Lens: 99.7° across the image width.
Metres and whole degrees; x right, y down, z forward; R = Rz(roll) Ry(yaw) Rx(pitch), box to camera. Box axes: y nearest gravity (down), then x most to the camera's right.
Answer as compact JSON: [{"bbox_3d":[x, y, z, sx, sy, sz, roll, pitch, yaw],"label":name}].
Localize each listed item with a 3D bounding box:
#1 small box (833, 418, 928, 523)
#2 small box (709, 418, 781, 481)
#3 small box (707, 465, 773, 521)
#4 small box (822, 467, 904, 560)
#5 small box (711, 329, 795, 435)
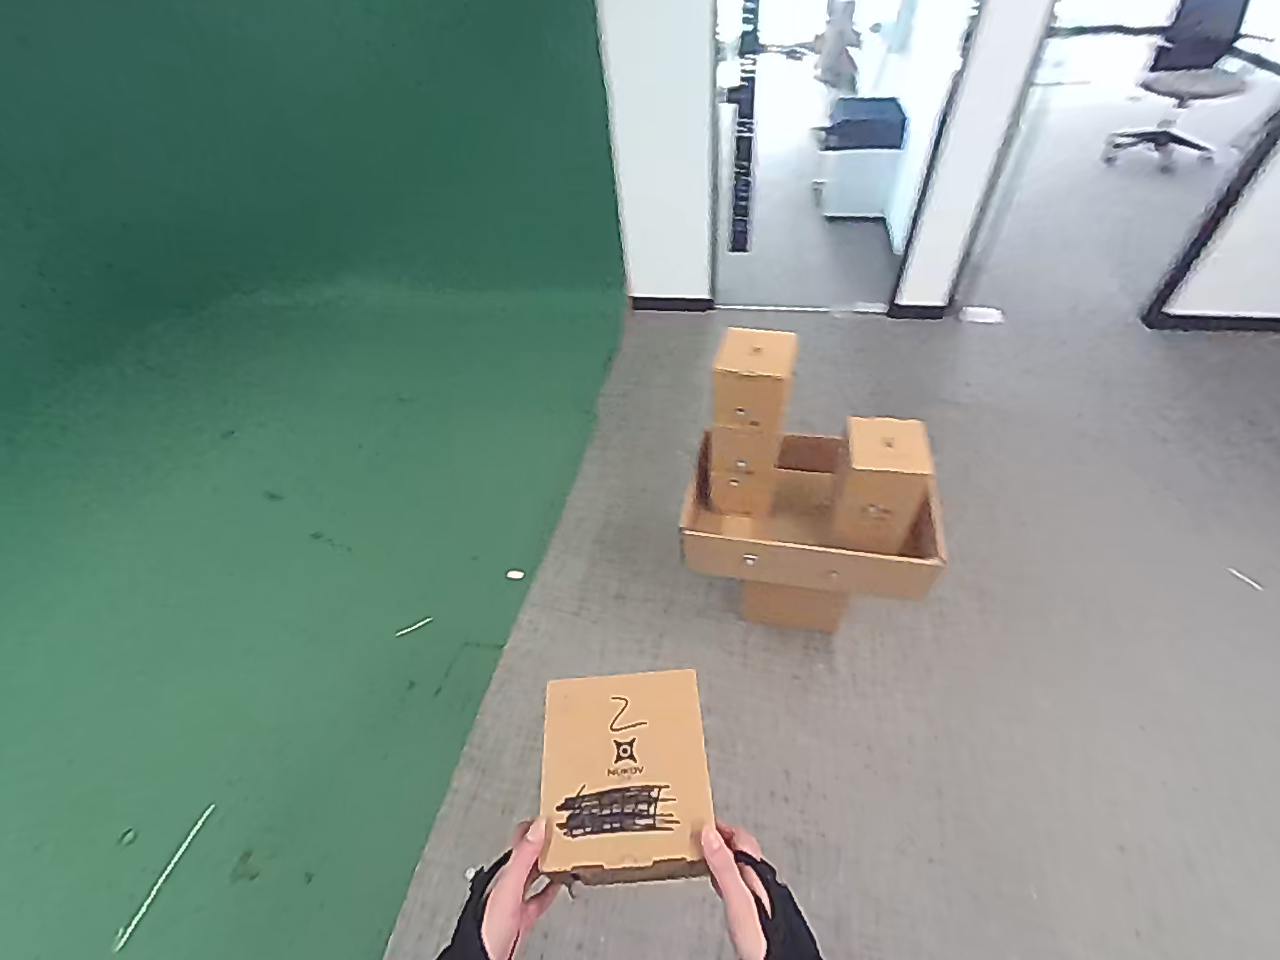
[{"bbox_3d":[0.560,-0.023,1.284,0.168,0.176,0.179,5,48,11],"label":"small box"},{"bbox_3d":[0.274,-0.124,1.408,0.168,0.176,0.179,9,49,15],"label":"small box"},{"bbox_3d":[0.284,-0.012,1.528,0.168,0.176,0.179,8,48,12],"label":"small box"},{"bbox_3d":[0.573,0.087,1.404,0.168,0.176,0.179,6,47,11],"label":"small box"},{"bbox_3d":[0.265,-0.234,1.290,0.168,0.176,0.179,10,50,15],"label":"small box"}]
